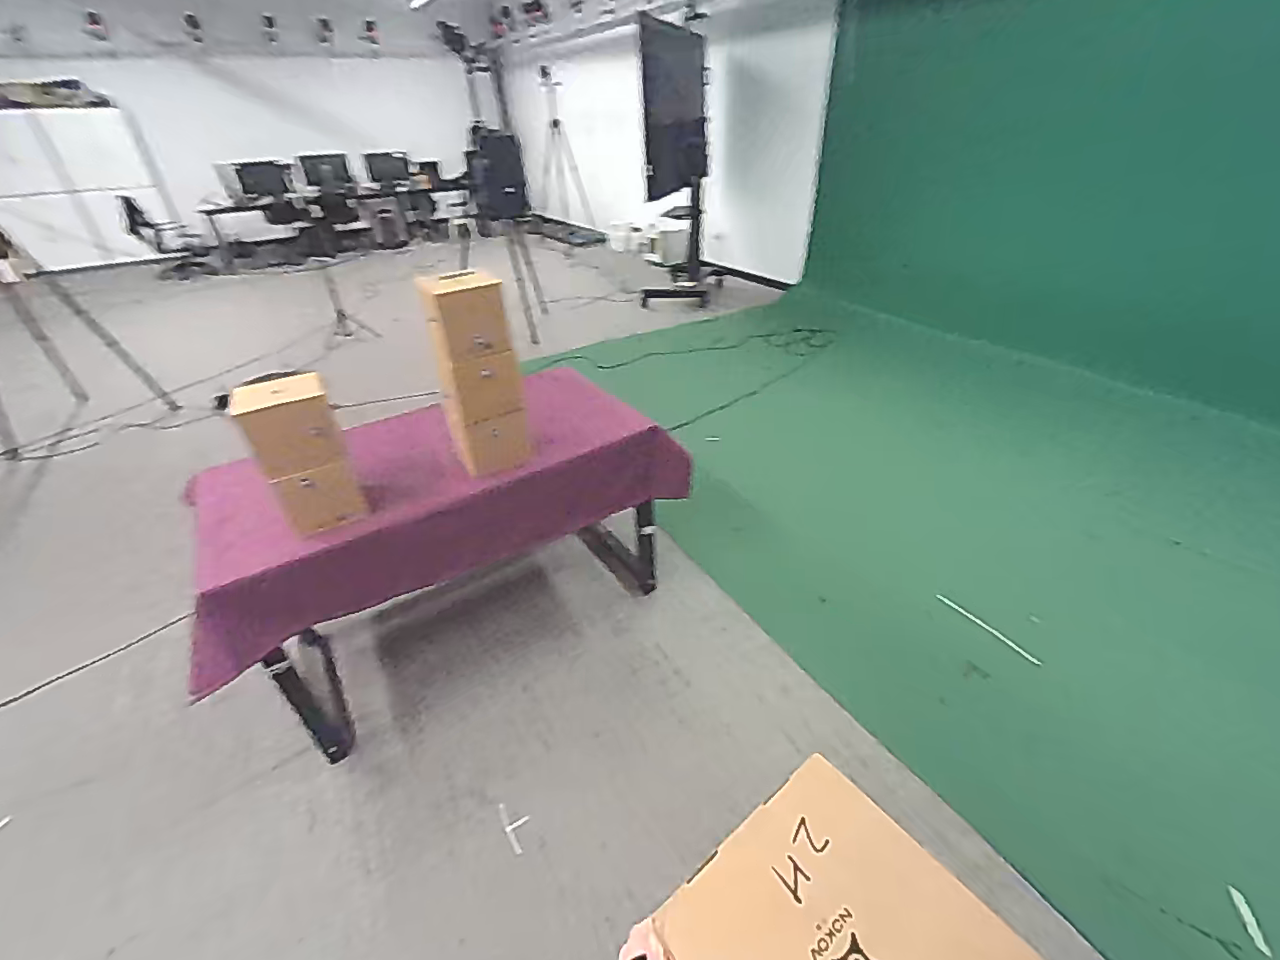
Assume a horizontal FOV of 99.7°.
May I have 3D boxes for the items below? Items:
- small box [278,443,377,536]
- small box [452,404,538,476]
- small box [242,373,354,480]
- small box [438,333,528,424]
[{"bbox_3d":[-0.774,0.010,1.340,0.168,0.176,0.179,-21,37,-24],"label":"small box"},{"bbox_3d":[-0.404,-0.134,1.521,0.179,0.176,0.168,-21,38,-25],"label":"small box"},{"bbox_3d":[-0.781,-0.126,1.249,0.179,0.176,0.168,-21,37,-23],"label":"small box"},{"bbox_3d":[-0.409,-0.269,1.432,0.179,0.176,0.168,-23,39,-25],"label":"small box"}]
